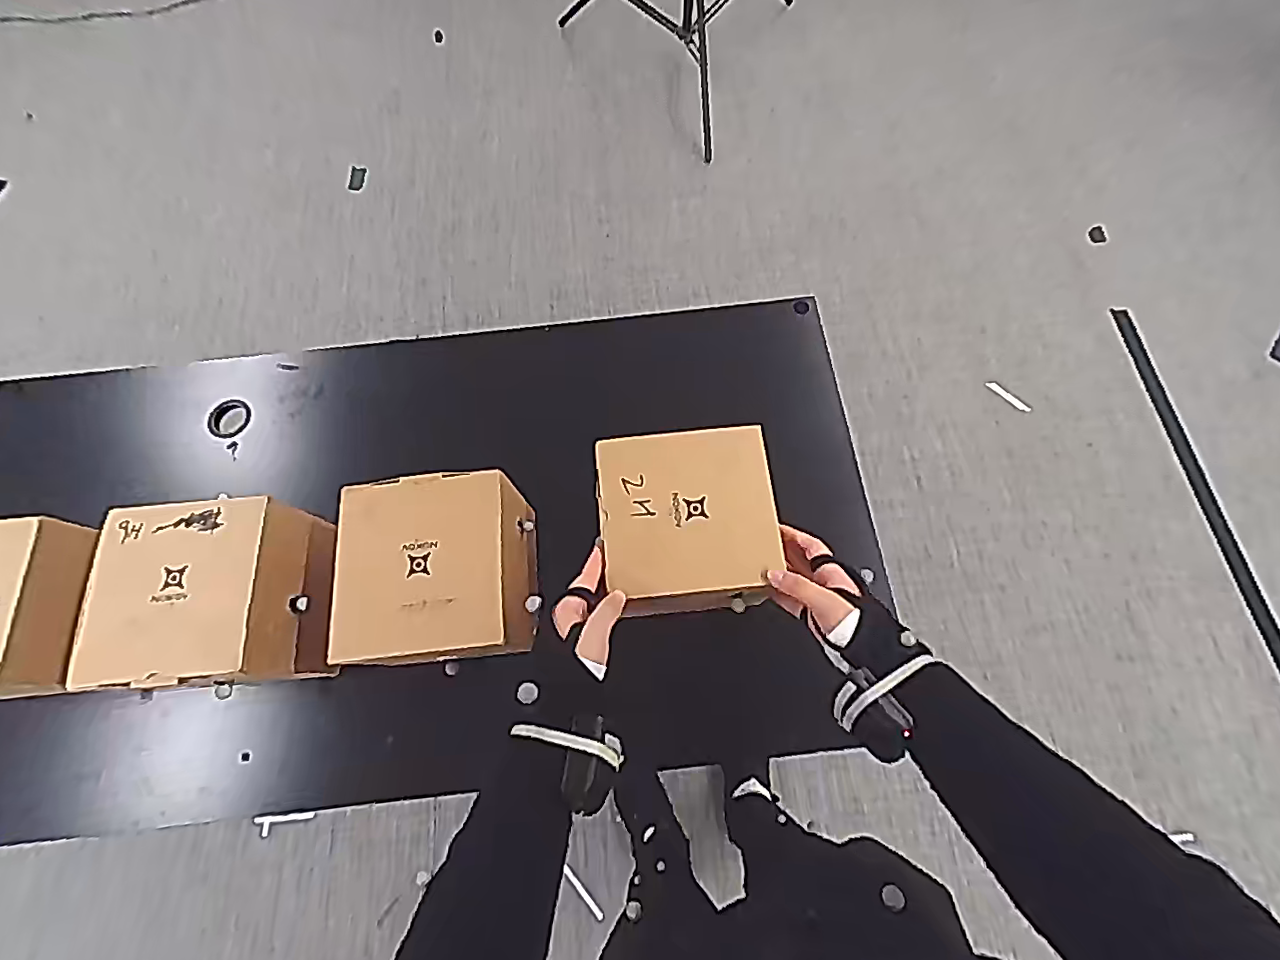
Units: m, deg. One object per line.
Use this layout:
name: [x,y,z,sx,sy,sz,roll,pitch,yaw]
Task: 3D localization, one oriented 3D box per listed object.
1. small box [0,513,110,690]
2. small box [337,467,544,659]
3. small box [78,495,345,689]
small box: [-0.678,0.143,0.602,0.179,0.176,0.168,-5,71,-1]
small box: [-0.209,0.102,0.608,0.168,0.176,0.179,-7,72,0]
small box: [-0.446,0.128,0.603,0.168,0.176,0.179,-5,71,-2]
